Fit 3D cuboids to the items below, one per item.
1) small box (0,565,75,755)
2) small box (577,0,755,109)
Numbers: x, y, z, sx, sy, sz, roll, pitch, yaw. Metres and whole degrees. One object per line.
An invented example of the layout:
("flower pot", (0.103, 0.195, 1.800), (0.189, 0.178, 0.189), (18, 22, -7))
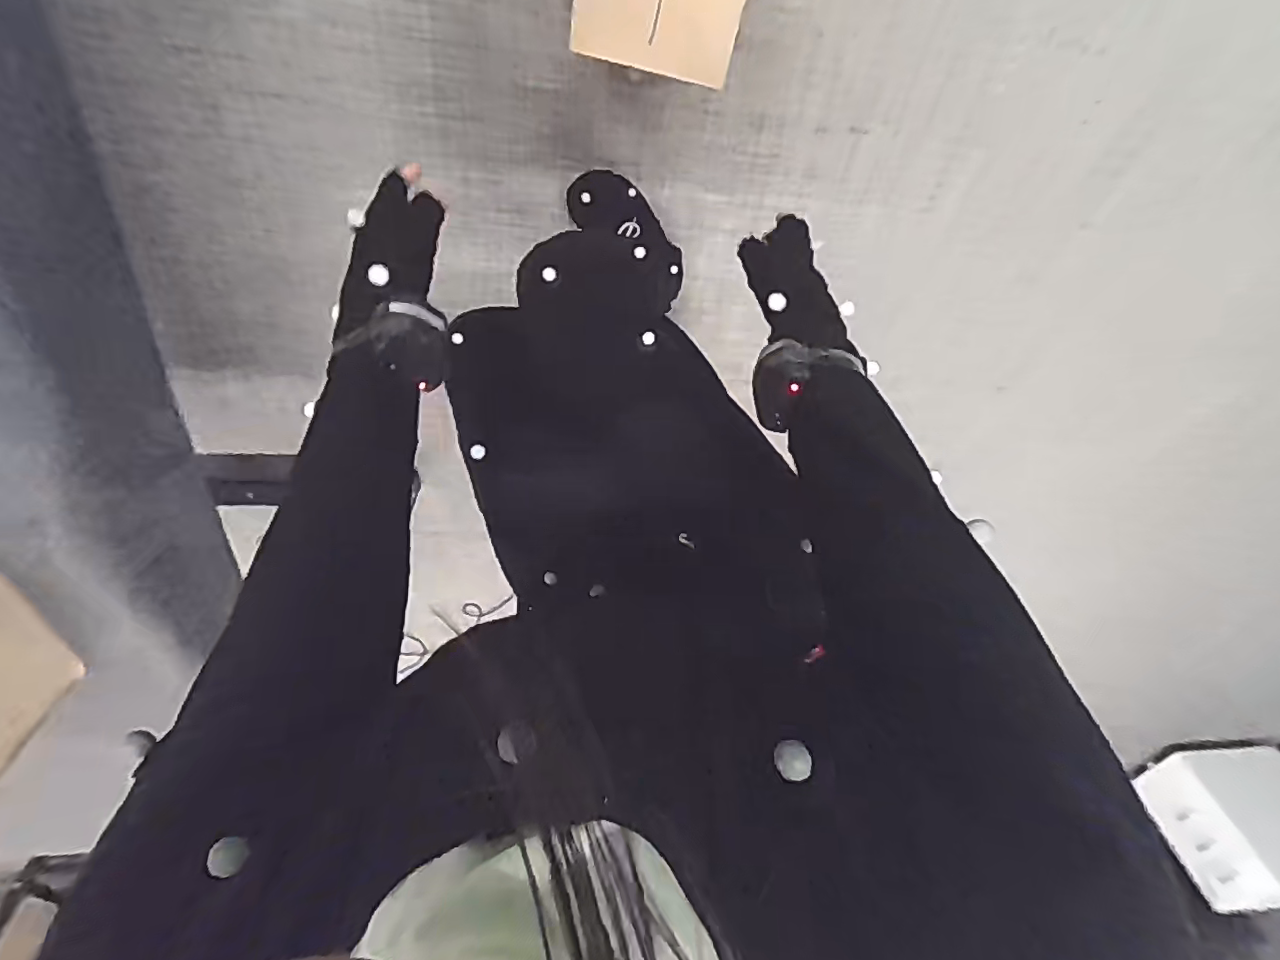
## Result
("small box", (-0.560, 0.144, 0.363), (0.168, 0.176, 0.179), (5, 130, -8))
("small box", (0.029, -0.529, 0.578), (0.168, 0.176, 0.179), (9, 129, -10))
